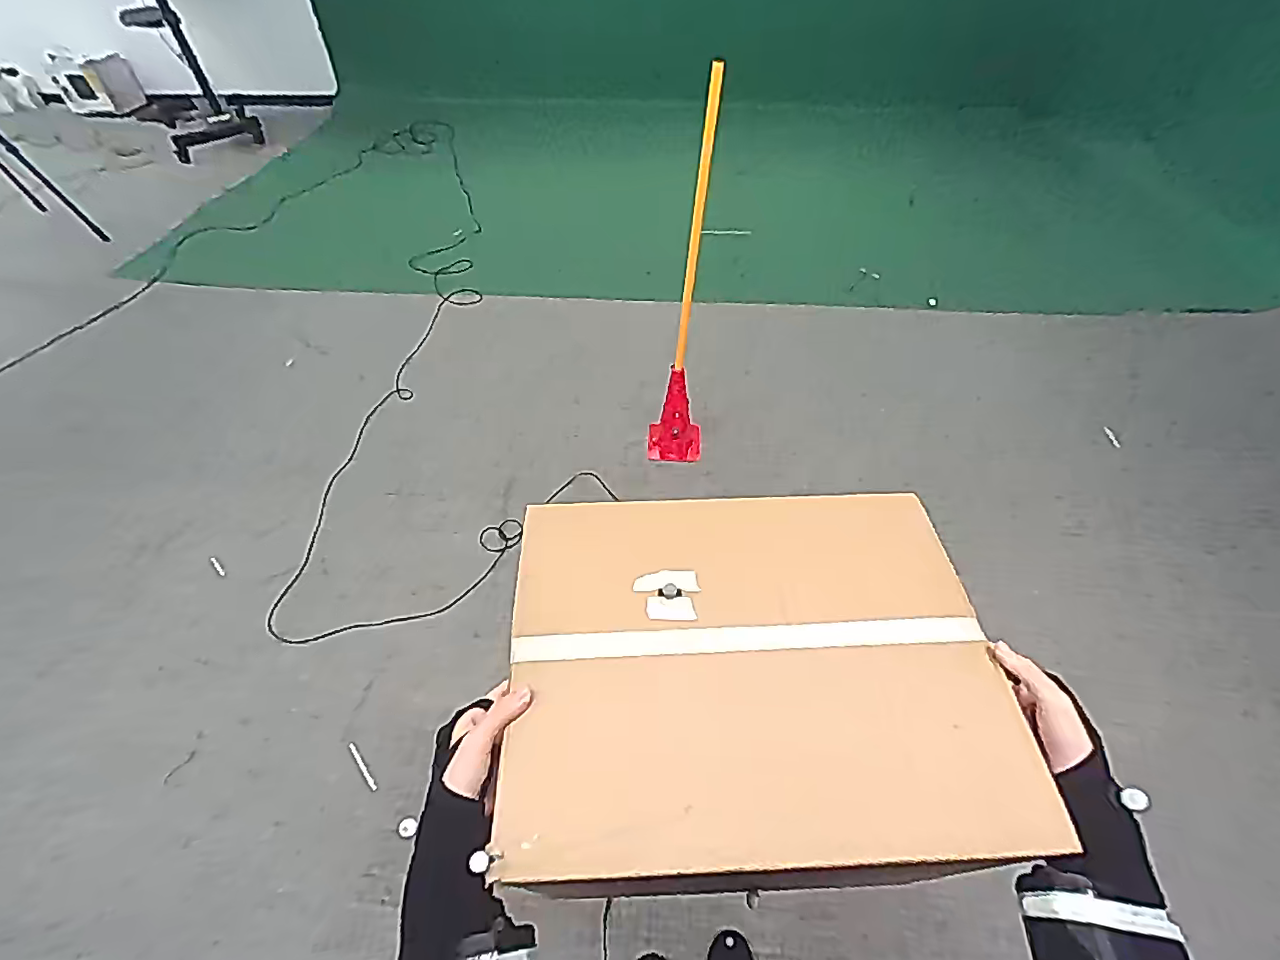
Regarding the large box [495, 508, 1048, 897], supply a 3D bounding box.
[{"bbox_3d":[0.093,0.250,0.588,0.408,0.320,0.320,-2,50,-1],"label":"large box"}]
